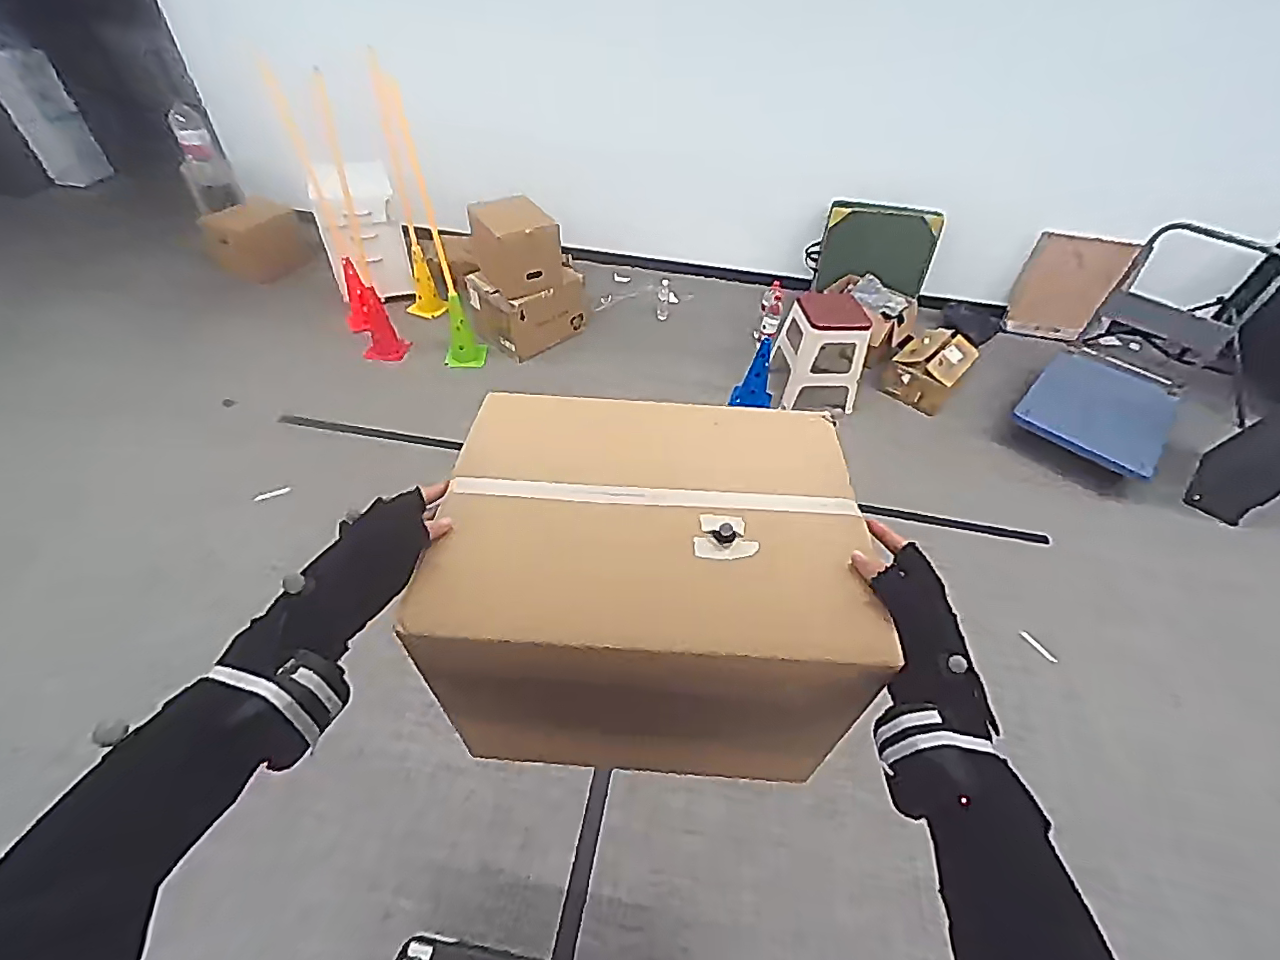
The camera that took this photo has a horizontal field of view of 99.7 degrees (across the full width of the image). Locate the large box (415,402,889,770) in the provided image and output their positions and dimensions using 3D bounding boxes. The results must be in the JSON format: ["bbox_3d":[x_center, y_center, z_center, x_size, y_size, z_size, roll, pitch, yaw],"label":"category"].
[{"bbox_3d":[0.009,0.129,0.653,0.408,0.320,0.320,4,47,1],"label":"large box"}]
